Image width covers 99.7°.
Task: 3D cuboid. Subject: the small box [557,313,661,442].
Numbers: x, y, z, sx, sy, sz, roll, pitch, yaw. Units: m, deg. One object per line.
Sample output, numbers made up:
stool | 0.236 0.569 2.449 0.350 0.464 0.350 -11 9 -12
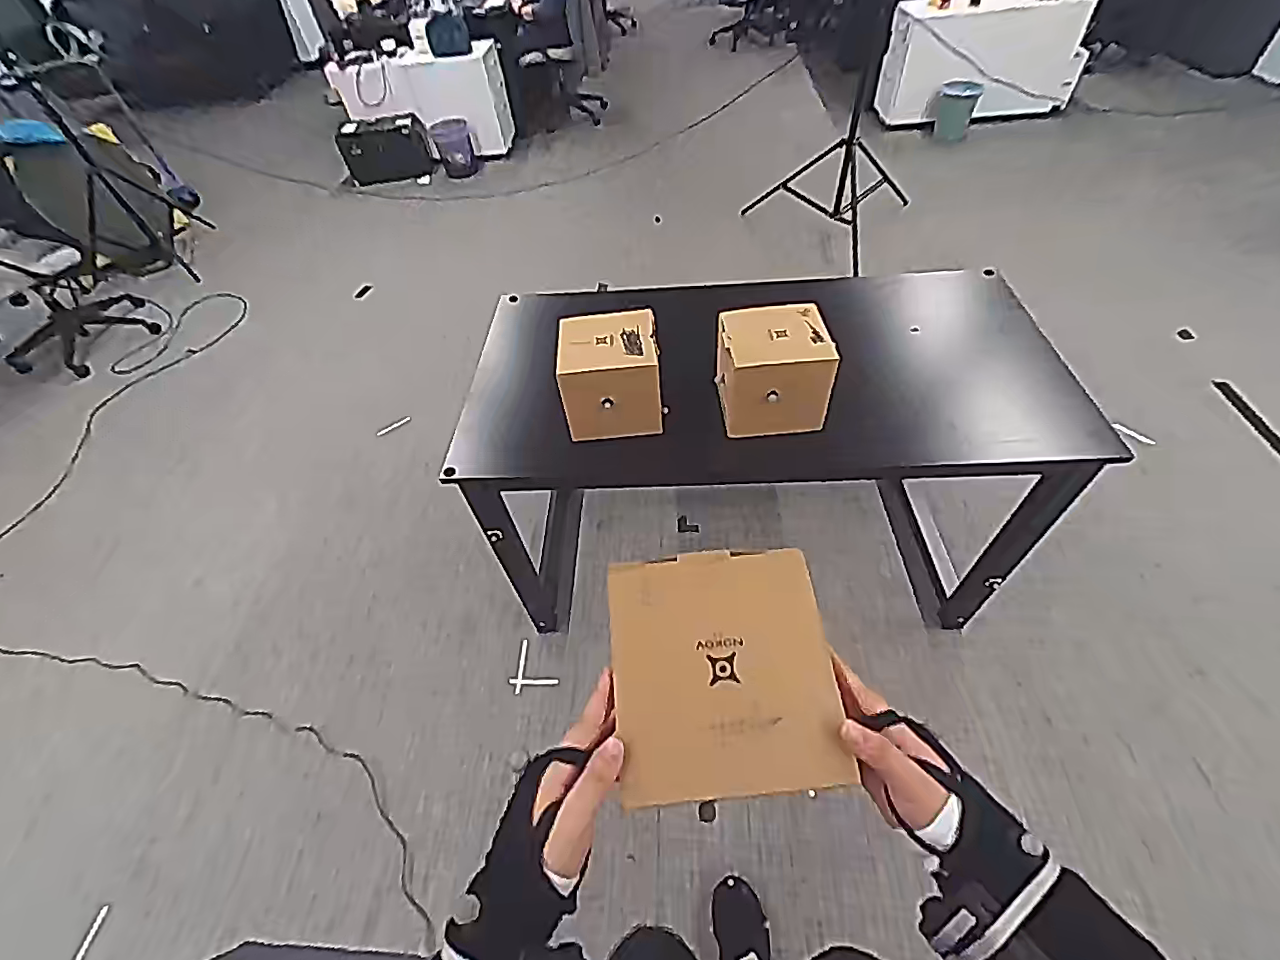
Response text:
small box | -0.053 -0.191 1.027 0.179 0.176 0.168 -6 50 3

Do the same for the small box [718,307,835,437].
small box | 0.241 -0.194 1.000 0.179 0.176 0.168 -5 50 2

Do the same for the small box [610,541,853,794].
small box | 0.060 0.172 0.481 0.168 0.176 0.179 -5 60 -2
